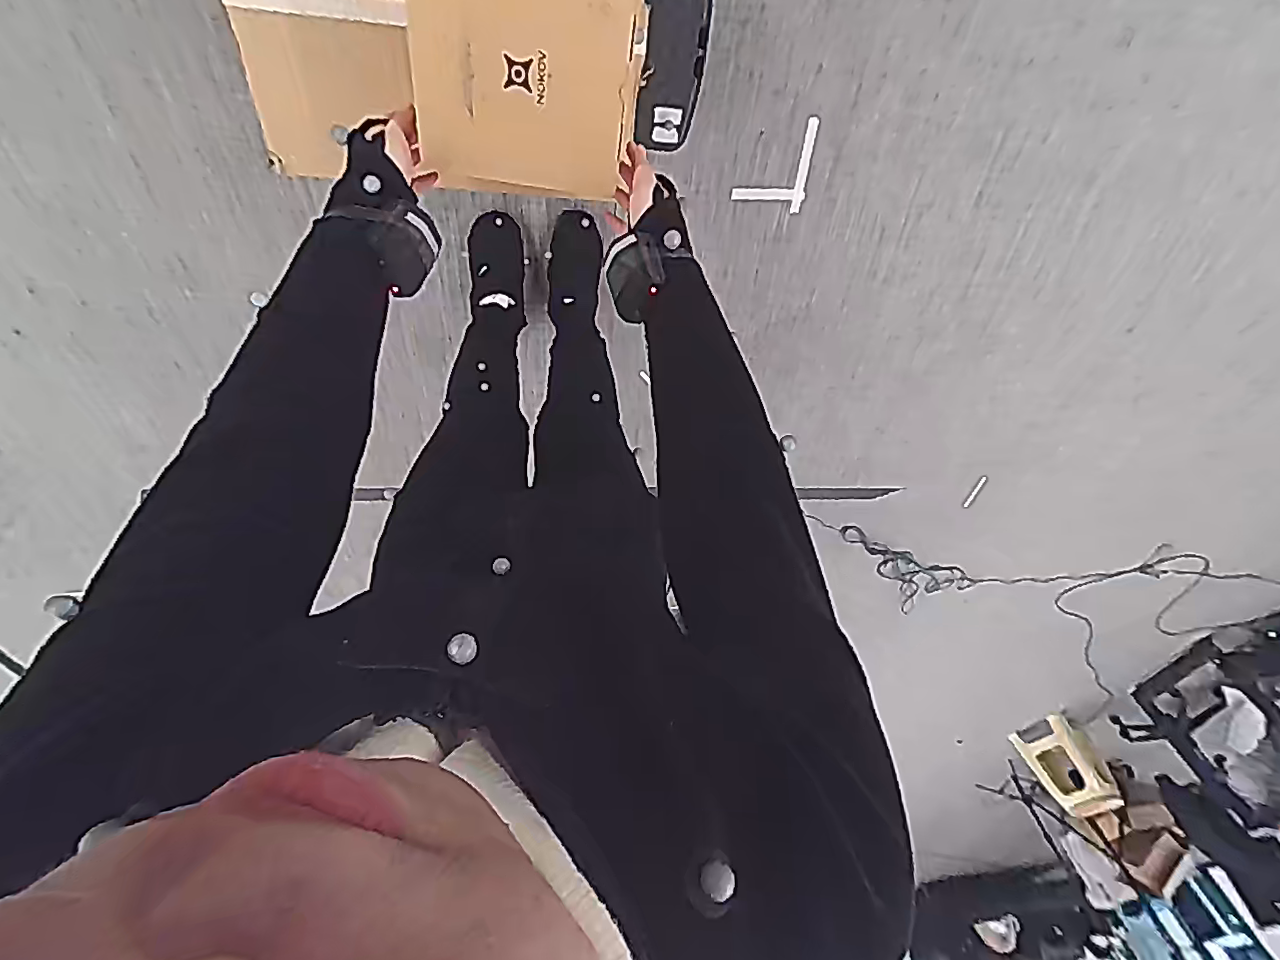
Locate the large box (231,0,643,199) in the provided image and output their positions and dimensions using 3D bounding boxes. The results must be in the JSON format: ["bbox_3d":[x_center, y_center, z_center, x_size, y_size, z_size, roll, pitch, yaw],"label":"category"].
[{"bbox_3d":[-0.203,-0.557,0.645,0.408,0.320,0.320,1,130,-8],"label":"large box"}]

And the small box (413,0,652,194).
[{"bbox_3d":[-0.095,-0.382,0.487,0.179,0.176,0.168,4,131,-11],"label":"small box"}]

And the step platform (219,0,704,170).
[{"bbox_3d":[-0.247,-0.702,0.830,0.684,0.204,0.286,5,130,-11],"label":"step platform"}]
